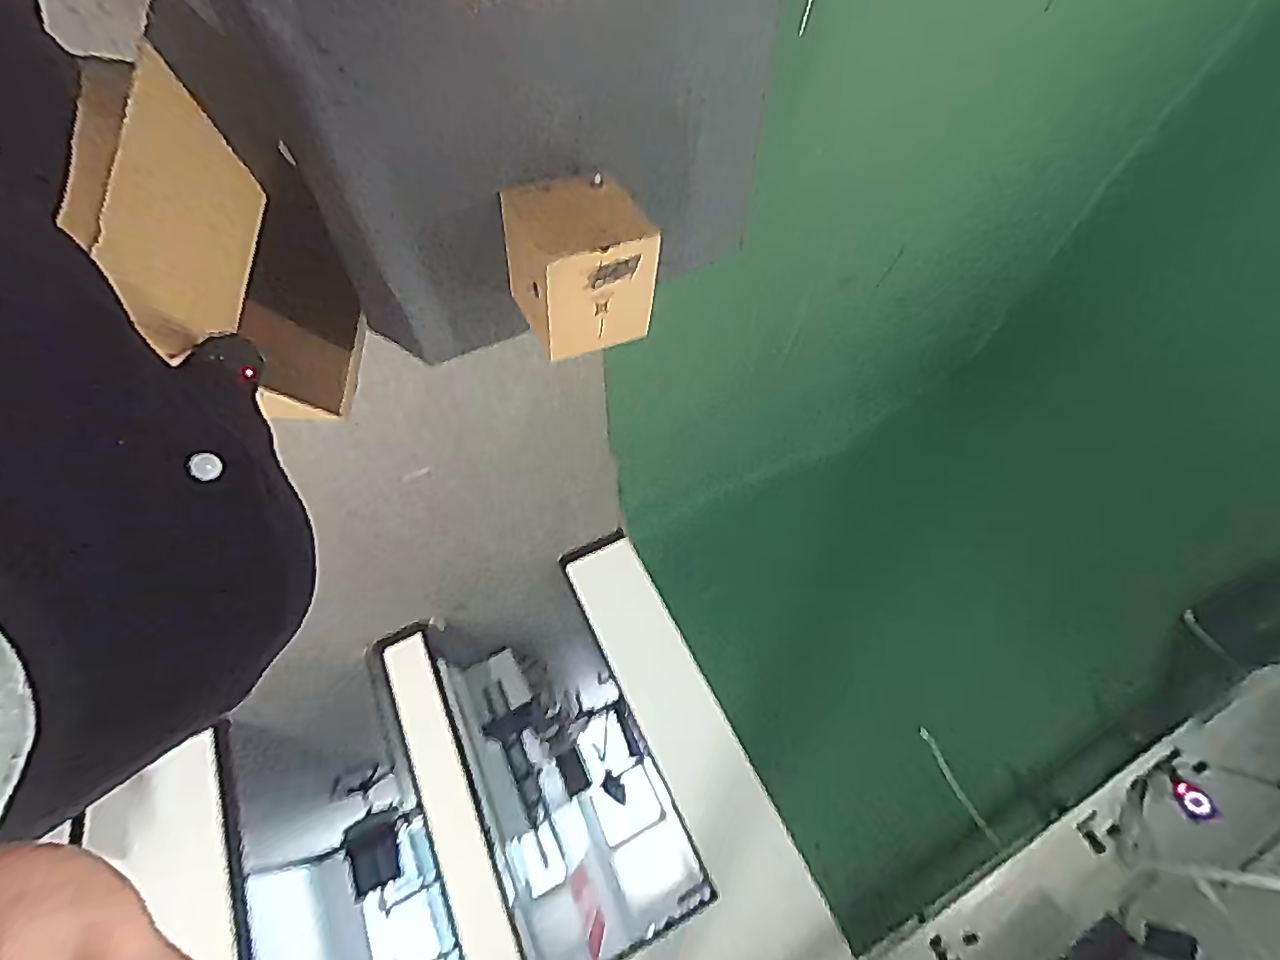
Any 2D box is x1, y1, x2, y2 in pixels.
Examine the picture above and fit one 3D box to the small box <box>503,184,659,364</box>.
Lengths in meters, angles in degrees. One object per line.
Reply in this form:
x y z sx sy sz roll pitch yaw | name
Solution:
-0.092 -0.307 0.793 0.168 0.176 0.179 -21 152 -19 | small box
